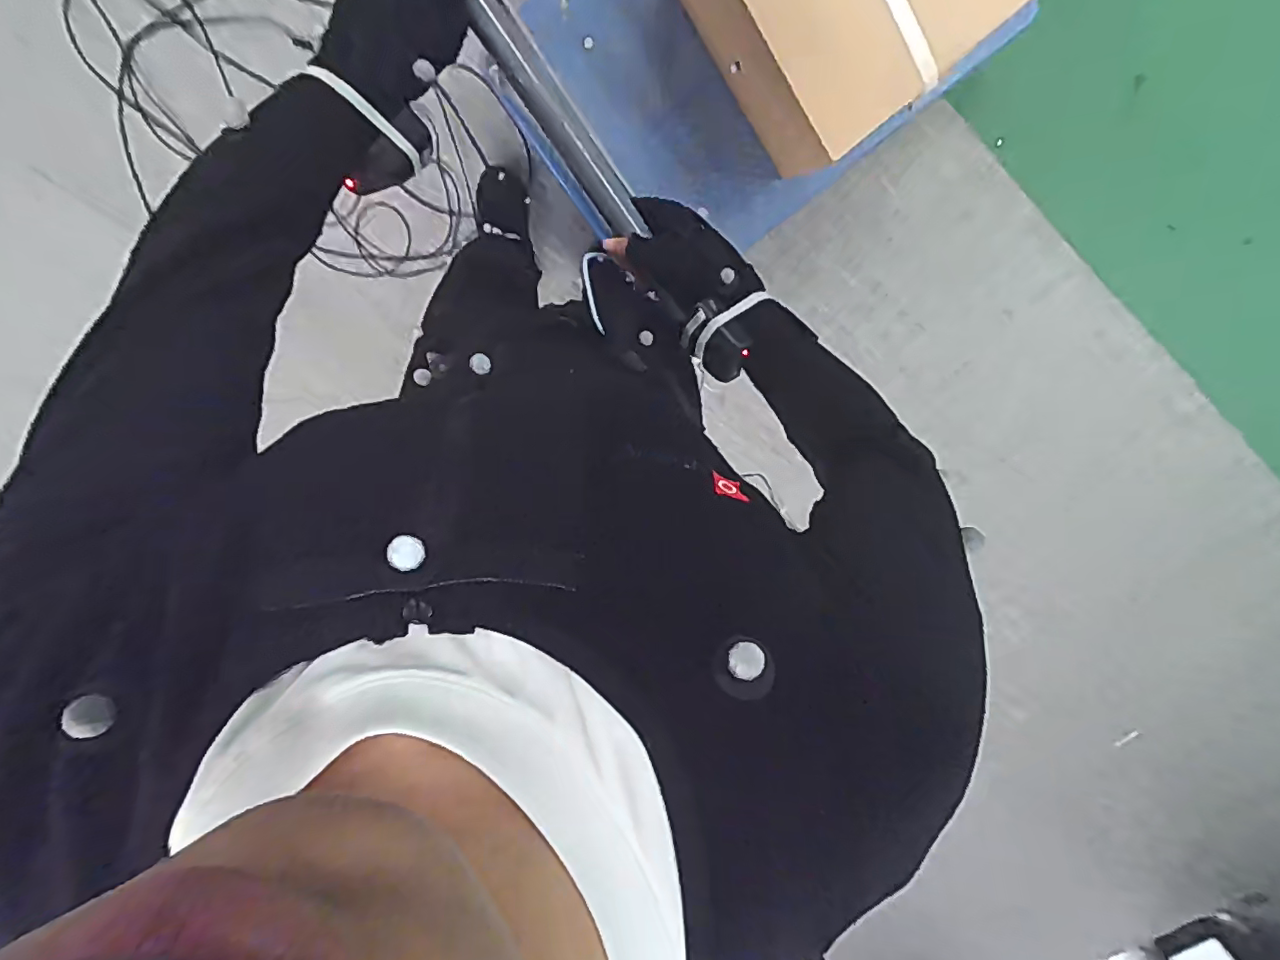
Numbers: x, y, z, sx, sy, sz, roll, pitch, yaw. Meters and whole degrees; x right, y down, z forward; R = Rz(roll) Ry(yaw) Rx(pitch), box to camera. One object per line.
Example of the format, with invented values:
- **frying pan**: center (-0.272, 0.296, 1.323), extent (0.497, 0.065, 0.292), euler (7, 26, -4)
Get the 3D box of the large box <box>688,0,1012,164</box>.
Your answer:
- **large box**: center (0.285, -0.778, 0.831), extent (0.320, 0.320, 0.408), euler (-36, 111, 16)
